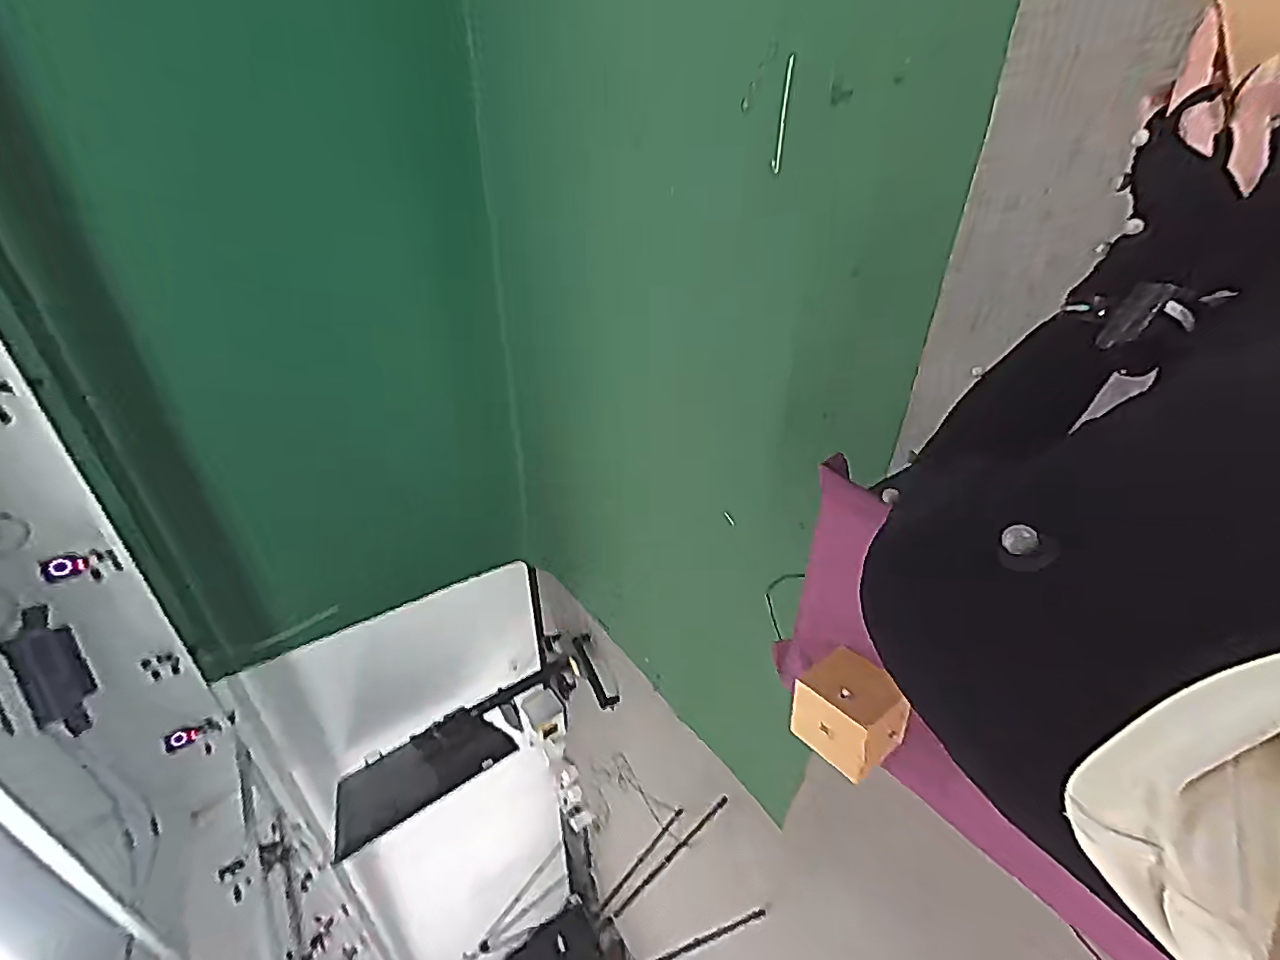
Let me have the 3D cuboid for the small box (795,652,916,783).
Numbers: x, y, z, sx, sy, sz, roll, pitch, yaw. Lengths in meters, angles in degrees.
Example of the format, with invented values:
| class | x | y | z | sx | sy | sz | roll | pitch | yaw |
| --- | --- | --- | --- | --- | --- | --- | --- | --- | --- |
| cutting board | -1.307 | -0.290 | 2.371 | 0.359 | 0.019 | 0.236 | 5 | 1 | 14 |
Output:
| class | x | y | z | sx | sy | sz | roll | pitch | yaw |
| --- | --- | --- | --- | --- | --- | --- | --- | --- | --- |
| small box | 0.471 | 0.509 | 1.193 | 0.179 | 0.176 | 0.168 | 27 | 129 | 46 |

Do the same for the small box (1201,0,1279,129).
| class | x | y | z | sx | sy | sz | roll | pitch | yaw |
| --- | --- | --- | --- | --- | --- | --- | --- | --- | --- |
| small box | 0.546 | -0.397 | 0.404 | 0.168 | 0.176 | 0.179 | -9 | 108 | 45 |
